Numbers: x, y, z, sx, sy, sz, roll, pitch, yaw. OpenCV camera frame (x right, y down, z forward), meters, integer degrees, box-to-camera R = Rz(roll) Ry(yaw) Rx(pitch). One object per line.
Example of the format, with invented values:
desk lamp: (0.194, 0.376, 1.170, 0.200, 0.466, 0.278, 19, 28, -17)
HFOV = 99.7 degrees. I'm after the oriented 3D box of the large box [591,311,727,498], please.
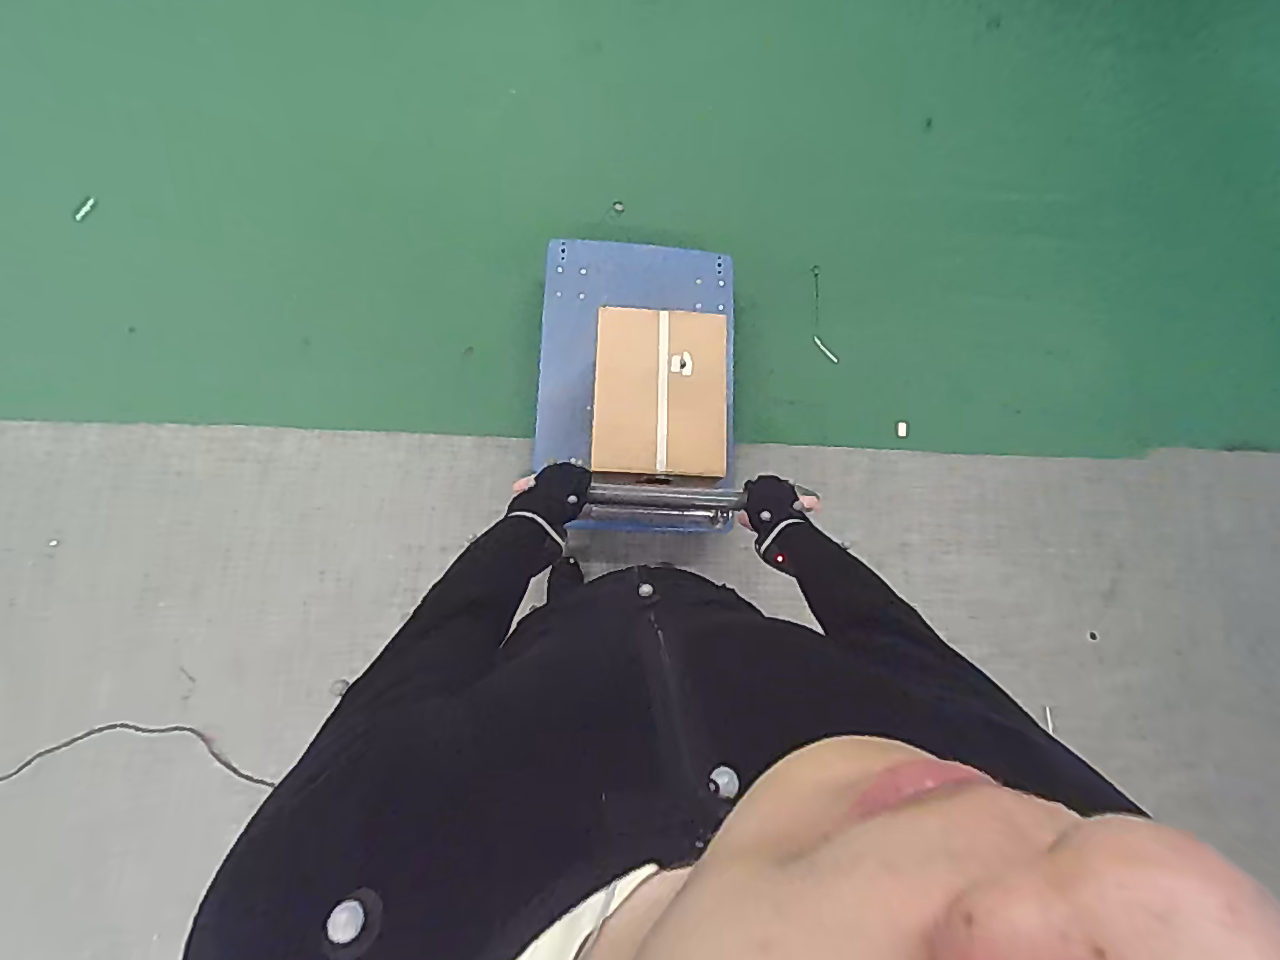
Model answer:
large box: (0.033, -0.174, 1.406, 0.320, 0.320, 0.408, 2, 78, -6)
